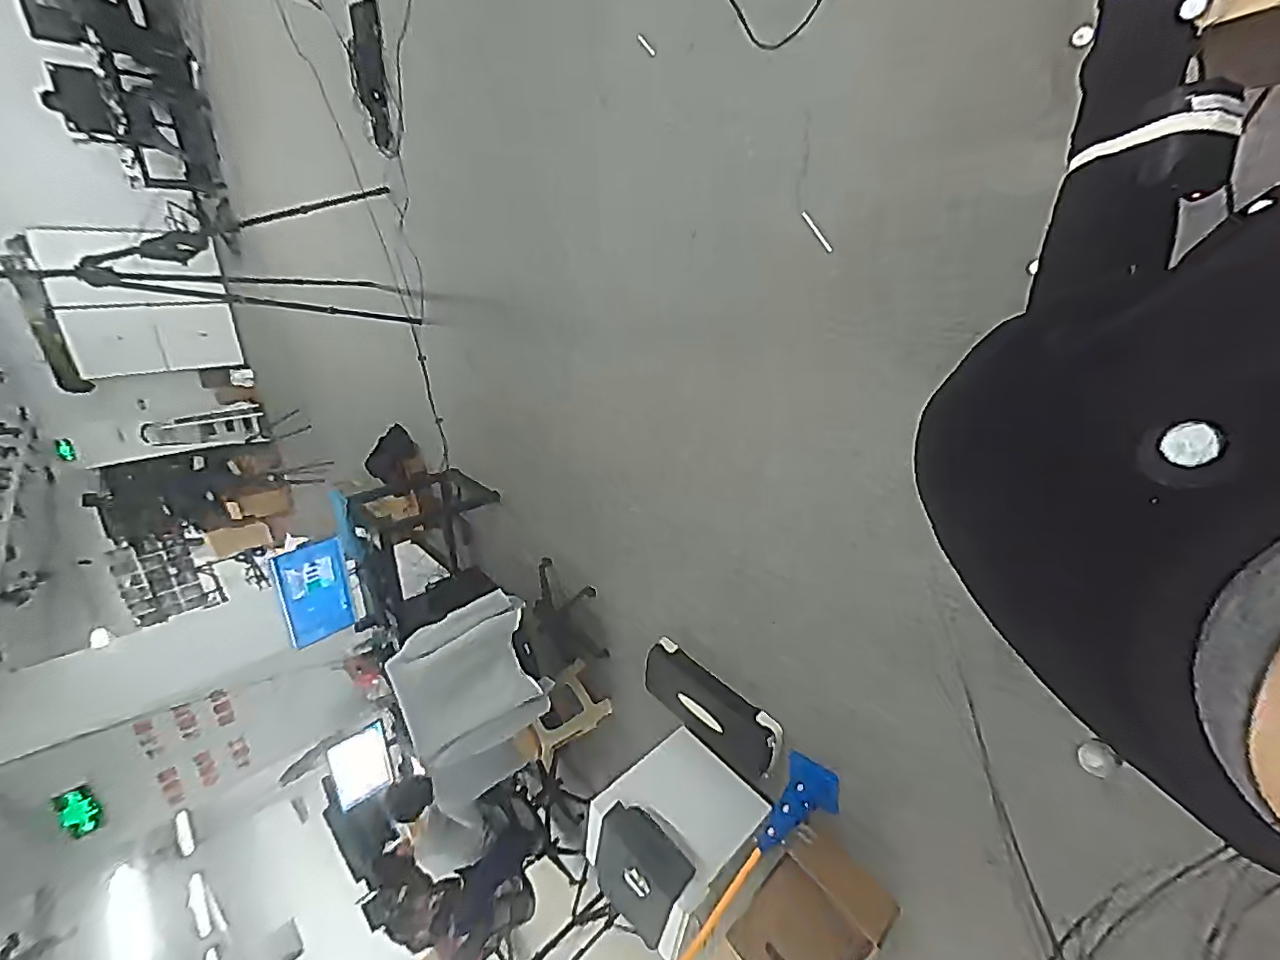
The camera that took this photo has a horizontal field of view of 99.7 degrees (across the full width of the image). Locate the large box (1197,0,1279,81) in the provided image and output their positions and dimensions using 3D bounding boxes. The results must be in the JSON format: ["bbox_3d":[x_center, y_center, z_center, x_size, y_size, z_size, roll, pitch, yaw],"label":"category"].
[{"bbox_3d":[0.584,-0.459,0.258,0.408,0.320,0.320,12,116,45],"label":"large box"}]
